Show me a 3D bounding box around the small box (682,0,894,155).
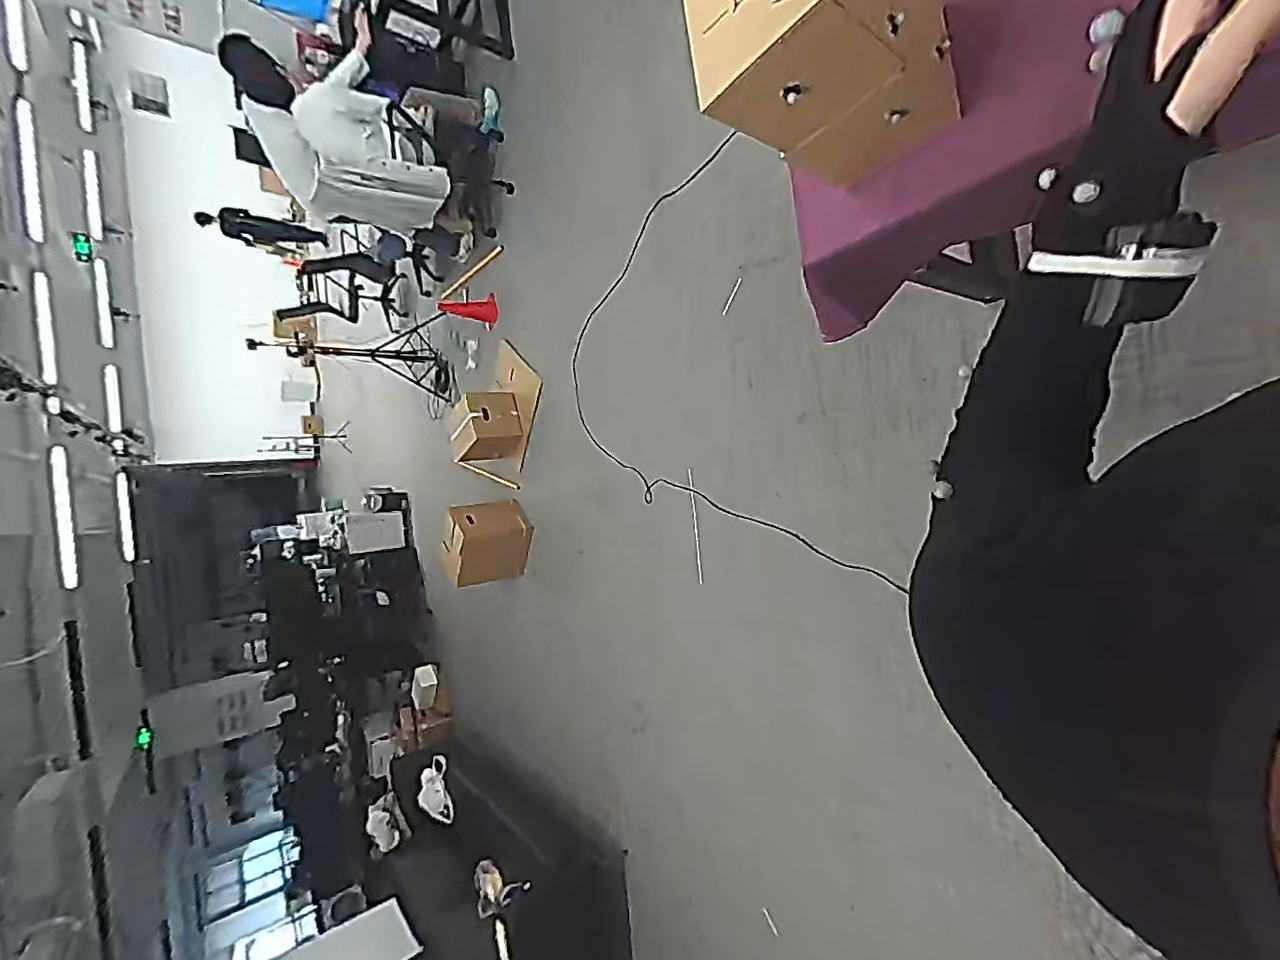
[{"bbox_3d":[0.178,-0.530,0.640,0.179,0.176,0.168,-13,84,52],"label":"small box"}]
